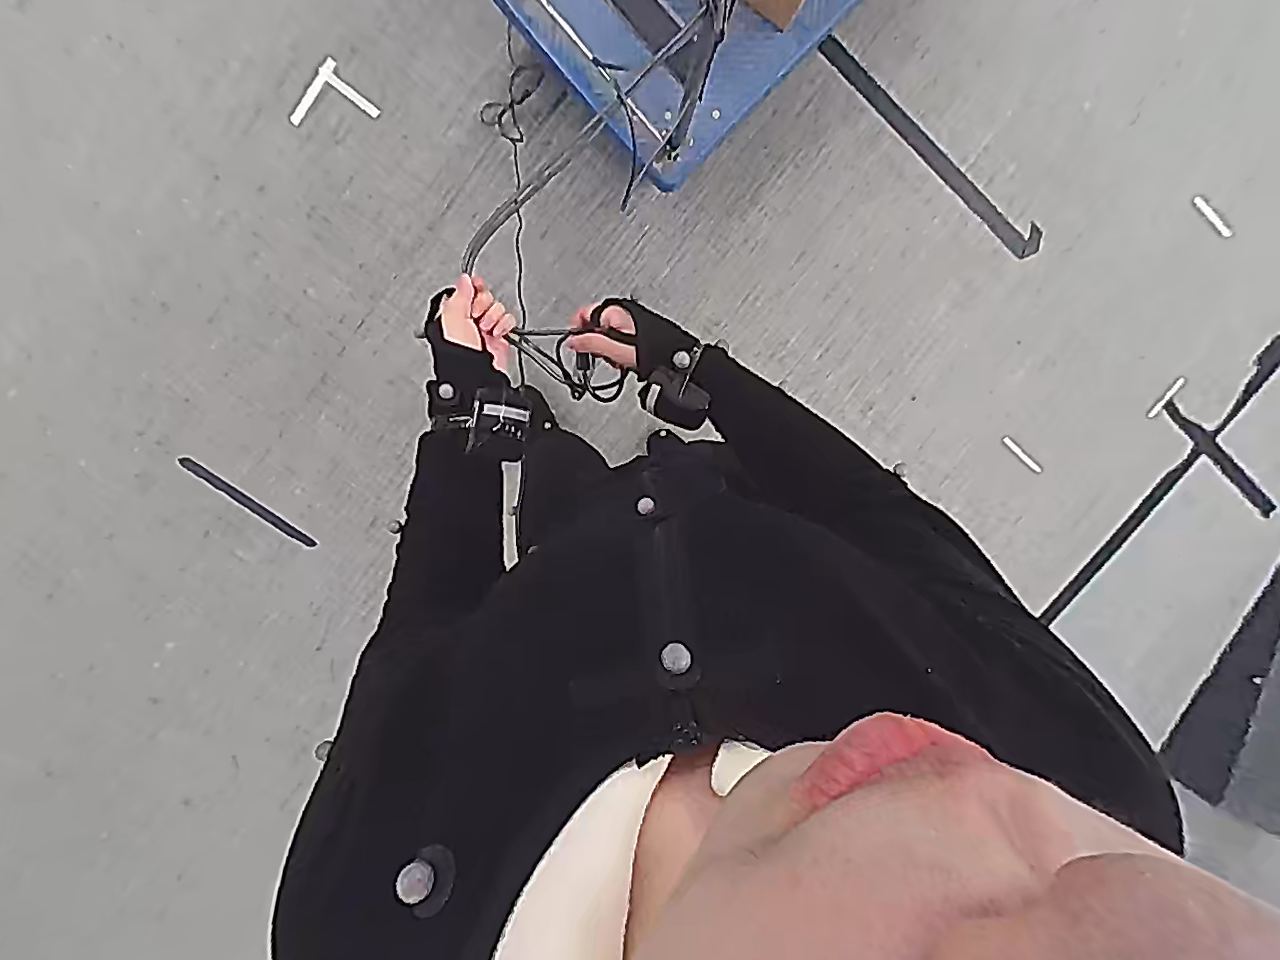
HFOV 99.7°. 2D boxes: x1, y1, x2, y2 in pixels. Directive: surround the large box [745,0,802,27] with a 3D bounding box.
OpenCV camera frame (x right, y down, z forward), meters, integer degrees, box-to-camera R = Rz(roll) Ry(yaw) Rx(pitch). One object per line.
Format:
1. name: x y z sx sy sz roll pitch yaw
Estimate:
1. large box: 0.231 -1.171 0.976 0.408 0.320 0.320 31 97 -9
